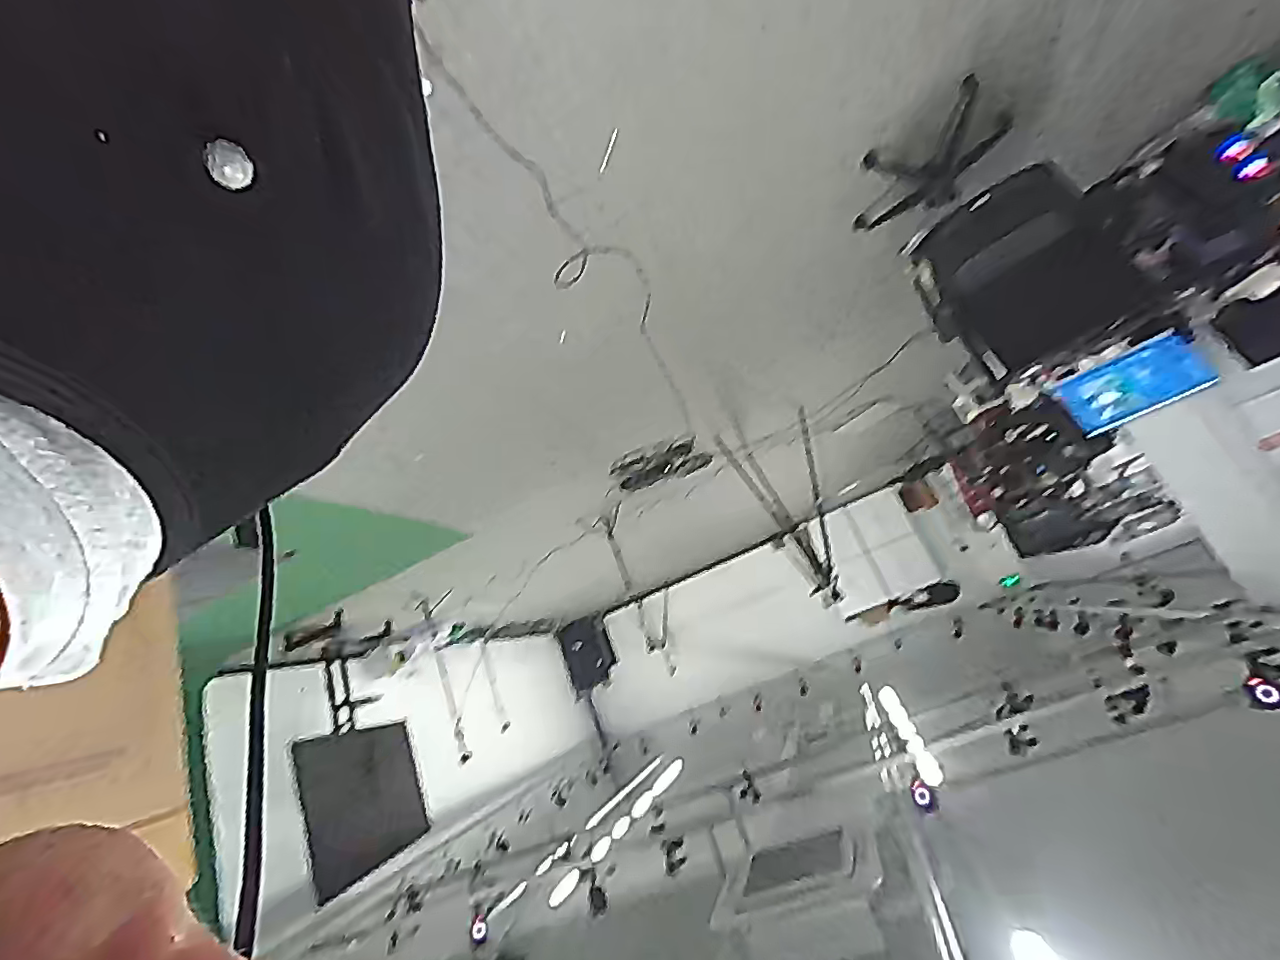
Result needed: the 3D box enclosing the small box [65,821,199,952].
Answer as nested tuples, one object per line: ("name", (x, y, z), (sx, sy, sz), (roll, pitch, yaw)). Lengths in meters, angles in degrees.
("small box", (-1.139, 0.897, 1.211), (0.179, 0.176, 0.168), (-27, 160, 17))
